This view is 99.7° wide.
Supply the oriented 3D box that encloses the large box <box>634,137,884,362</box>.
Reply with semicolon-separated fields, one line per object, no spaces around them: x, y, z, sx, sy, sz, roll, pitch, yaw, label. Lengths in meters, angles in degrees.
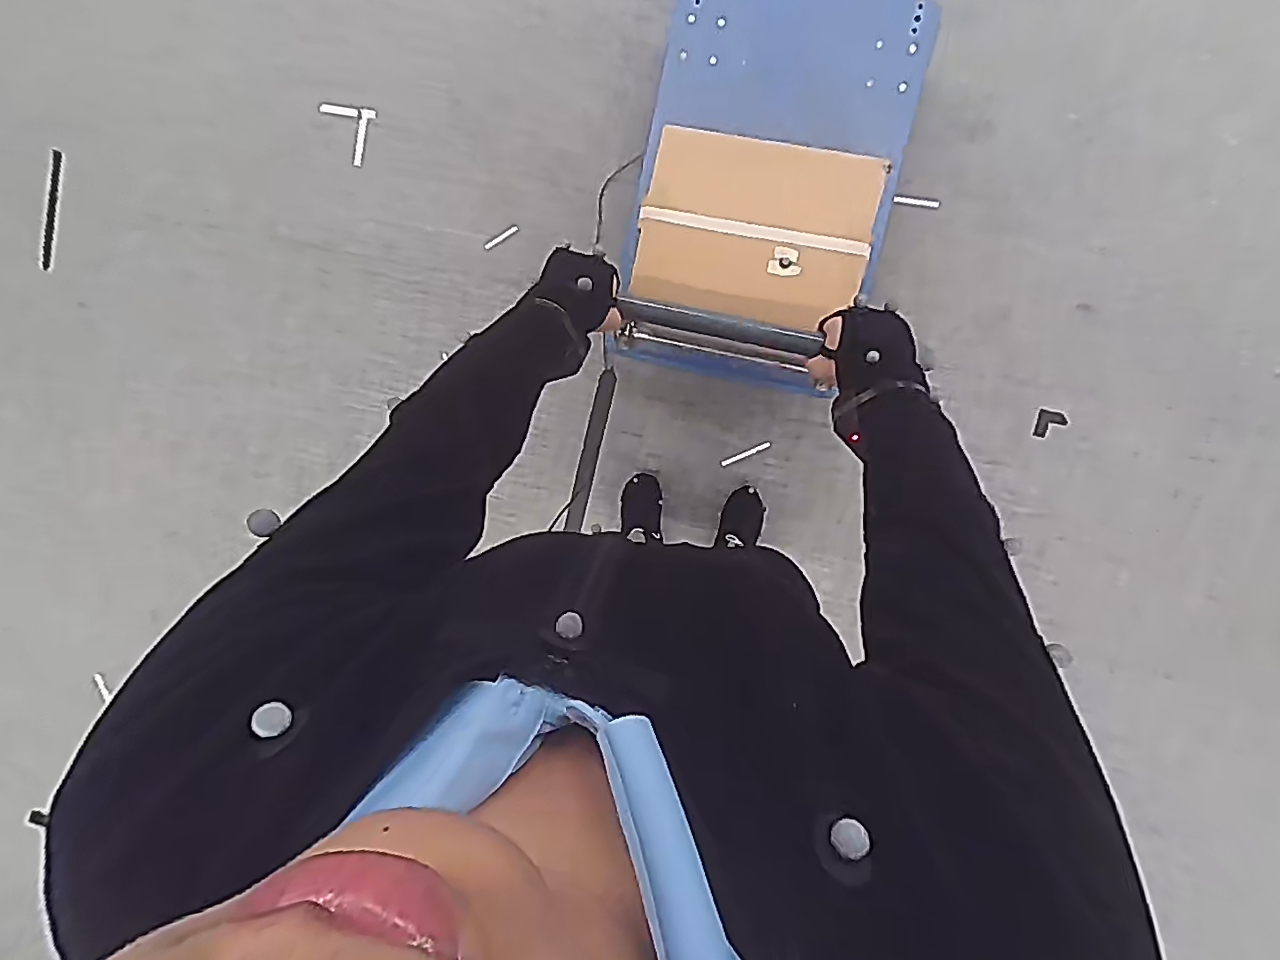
0.225;-0.452;1.131;0.408;0.320;0.320;13;97;6;large box
